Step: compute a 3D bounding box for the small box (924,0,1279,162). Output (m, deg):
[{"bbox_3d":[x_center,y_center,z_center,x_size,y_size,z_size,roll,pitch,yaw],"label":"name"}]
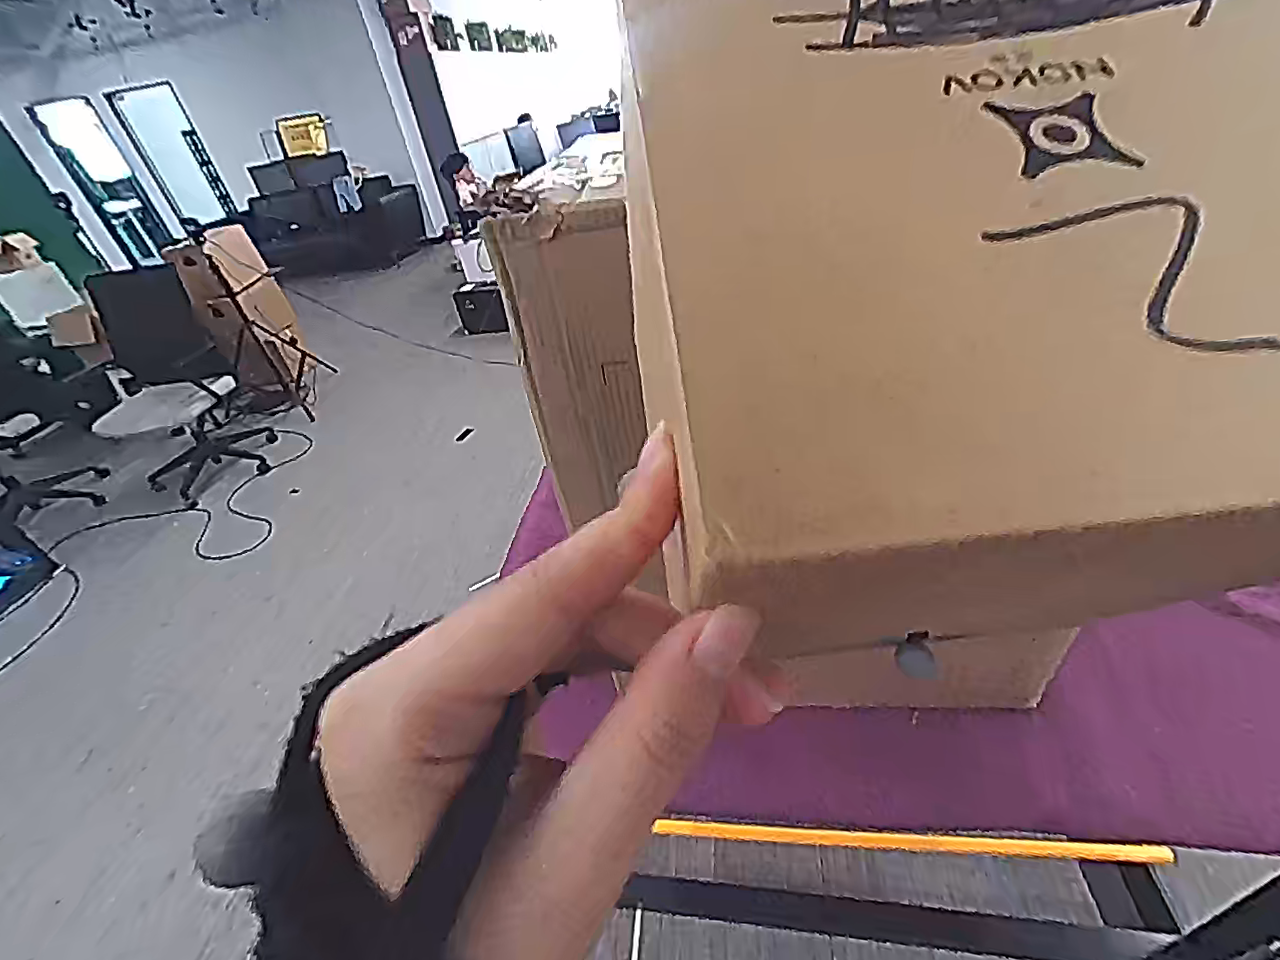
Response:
[{"bbox_3d":[0.292,-0.312,0.326,0.168,0.176,0.179,-2,37,12],"label":"small box"}]
